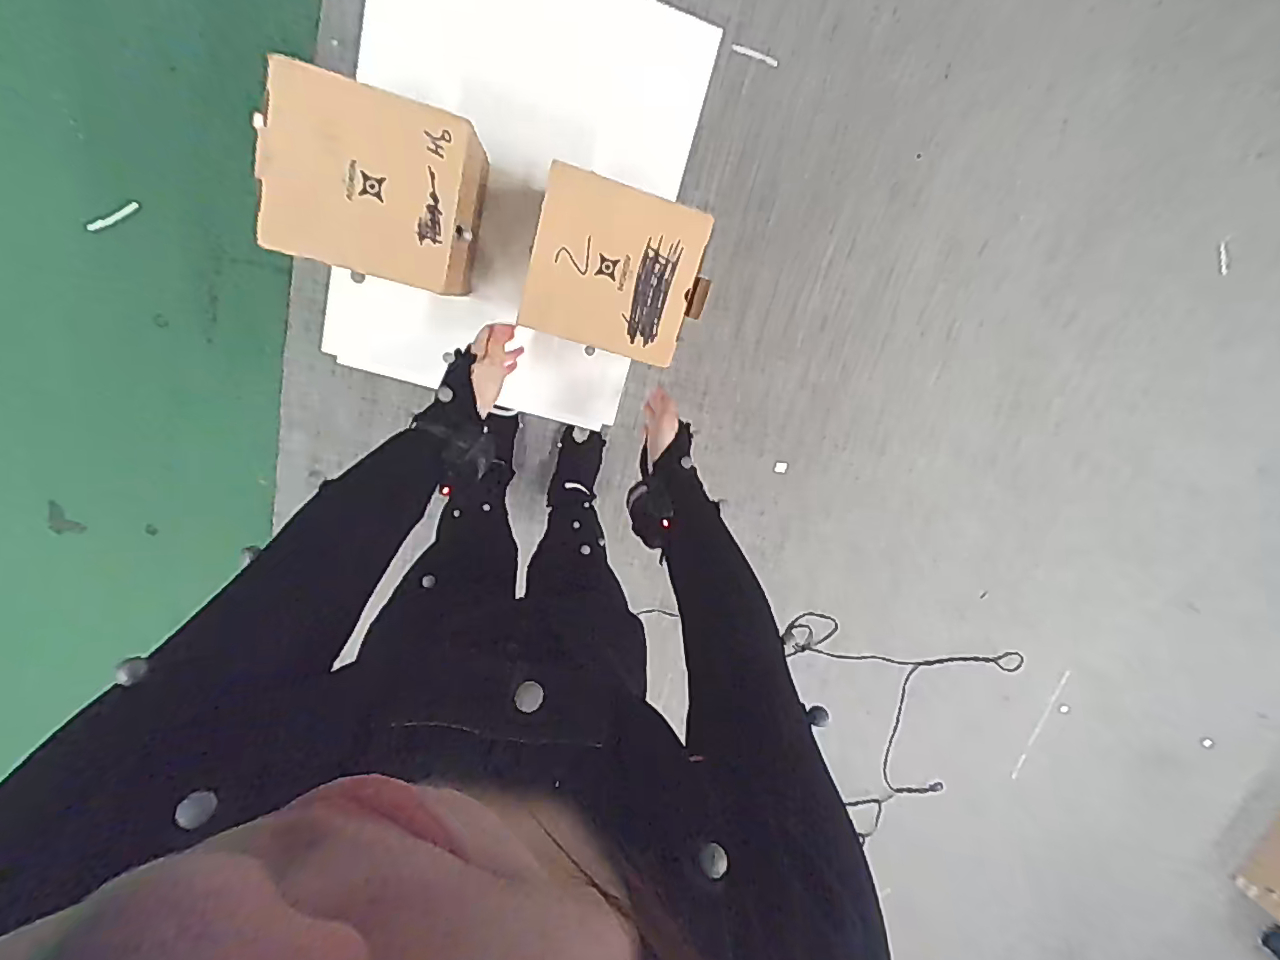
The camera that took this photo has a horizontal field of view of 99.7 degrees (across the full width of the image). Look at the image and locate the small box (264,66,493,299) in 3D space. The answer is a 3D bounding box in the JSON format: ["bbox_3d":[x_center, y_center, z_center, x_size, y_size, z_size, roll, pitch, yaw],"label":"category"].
[{"bbox_3d":[-0.271,-0.302,0.595,0.179,0.176,0.168,12,106,-12],"label":"small box"}]
